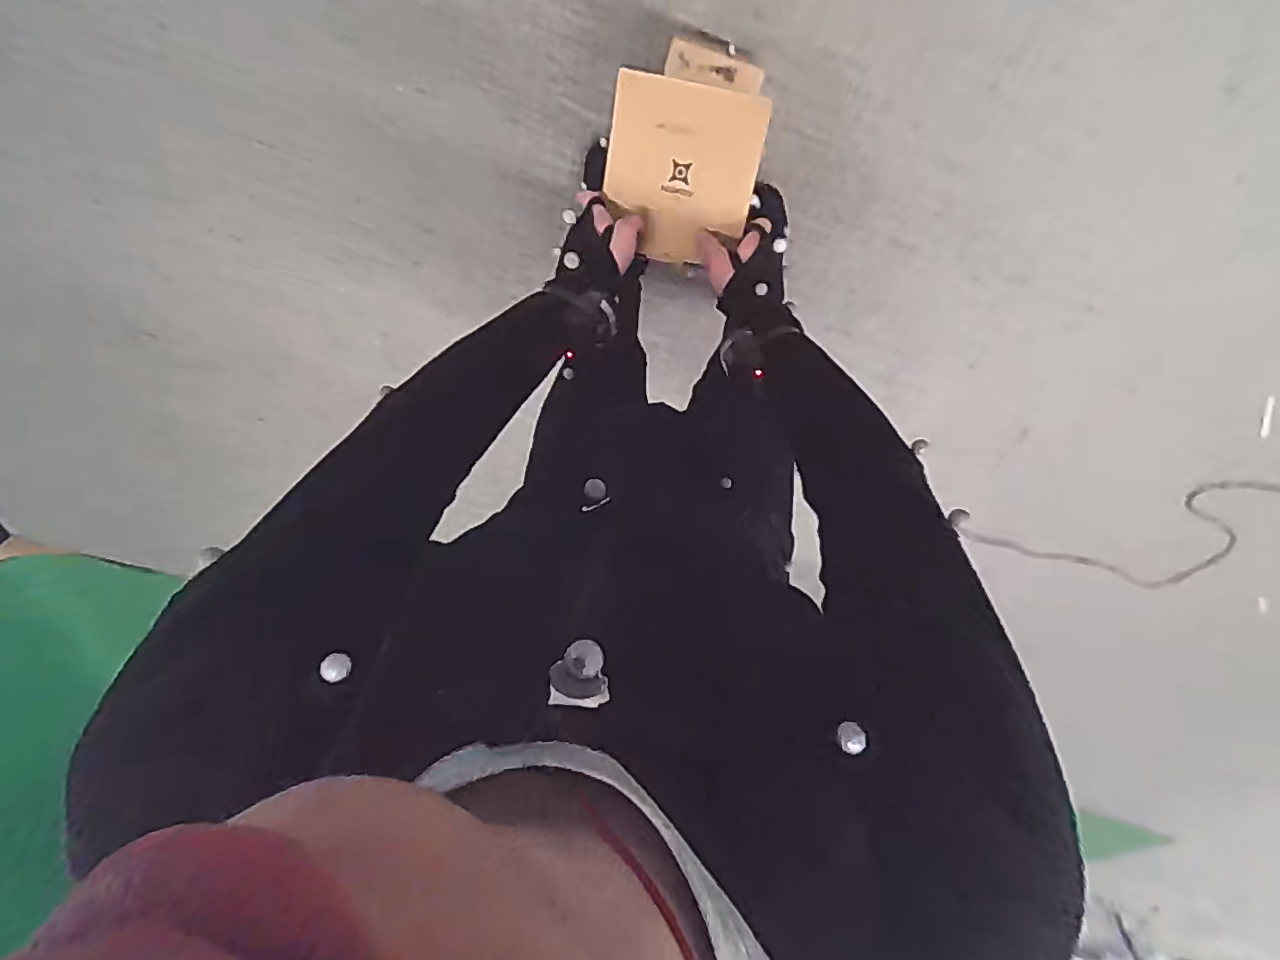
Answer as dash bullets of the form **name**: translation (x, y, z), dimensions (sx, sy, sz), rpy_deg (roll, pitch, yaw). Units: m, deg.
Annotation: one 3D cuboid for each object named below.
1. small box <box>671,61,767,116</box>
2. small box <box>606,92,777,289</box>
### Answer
- **small box**: translation (0.132, -0.670, 1.038), dimensions (0.168, 0.176, 0.179), rpy_deg (15, 132, -5)
- **small box**: translation (0.057, -0.347, 0.678), dimensions (0.168, 0.176, 0.179), rpy_deg (9, 111, -2)
